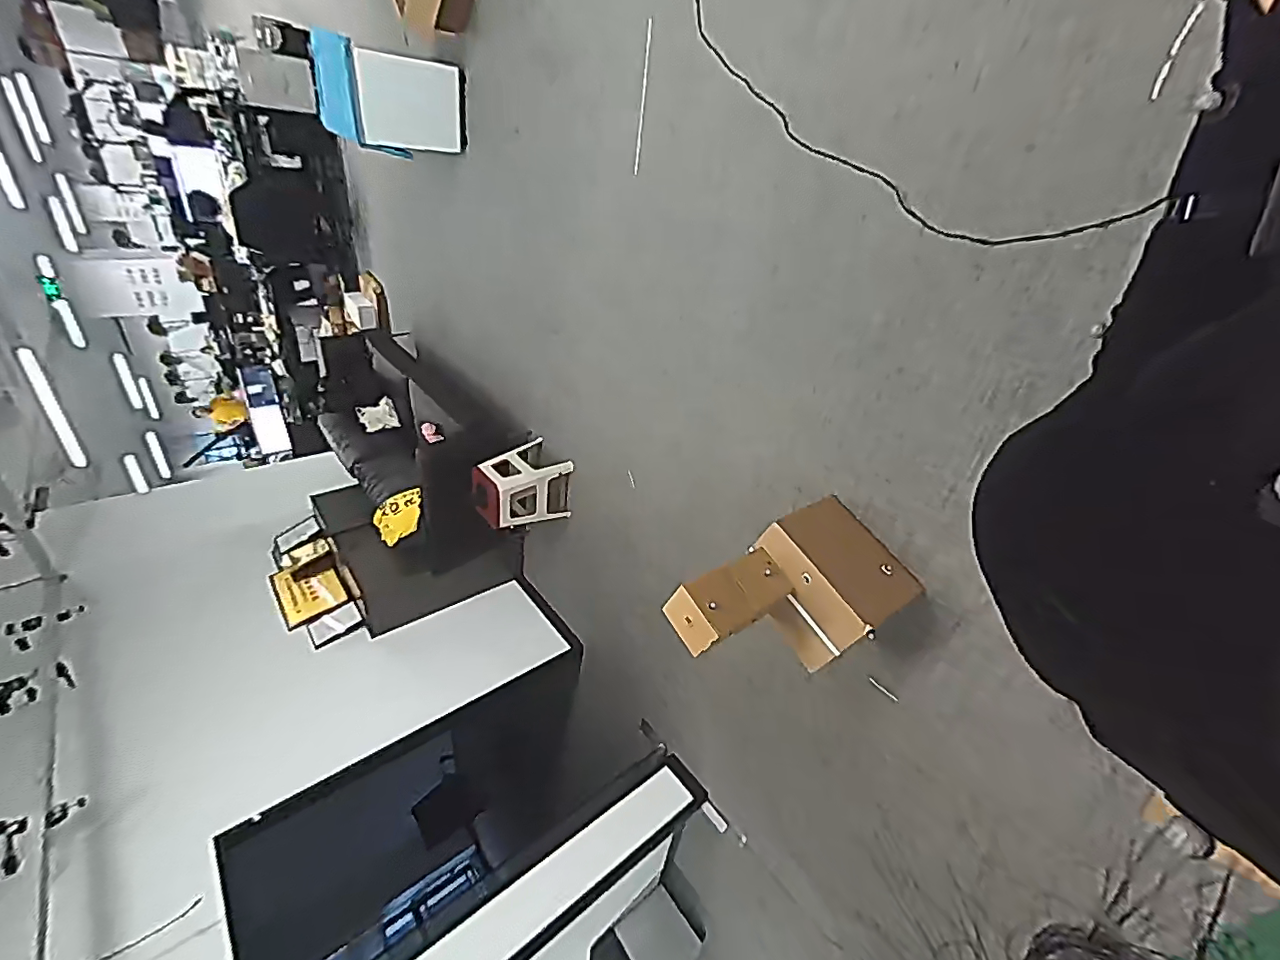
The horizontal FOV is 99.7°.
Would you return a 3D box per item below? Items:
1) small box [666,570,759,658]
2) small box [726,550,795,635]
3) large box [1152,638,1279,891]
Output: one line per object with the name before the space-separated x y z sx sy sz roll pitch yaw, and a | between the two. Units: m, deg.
small box | 0.212 0.383 1.585 0.179 0.176 0.168 54 142 23
small box | 0.344 0.346 1.673 0.168 0.176 0.179 53 142 24
large box | 1.254 0.555 0.973 0.408 0.320 0.320 22 123 45
